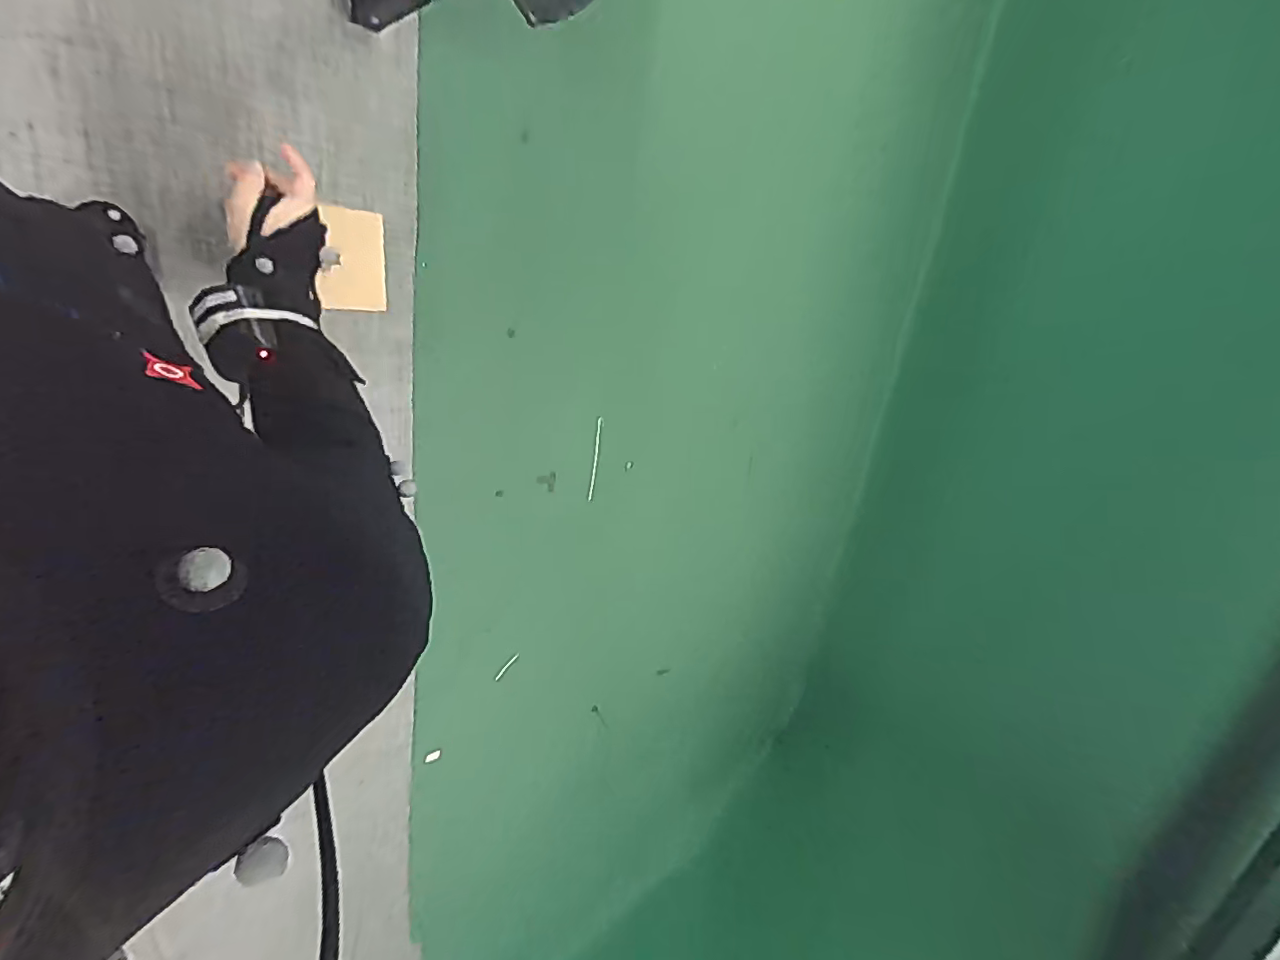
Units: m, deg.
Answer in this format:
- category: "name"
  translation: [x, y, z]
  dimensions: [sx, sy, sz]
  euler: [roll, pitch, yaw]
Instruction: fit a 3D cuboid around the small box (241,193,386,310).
- category: "small box"
  translation: [-0.571, -0.401, 0.953]
  dimensions: [0.179, 0.176, 0.168]
  euler: [-13, 119, -43]
